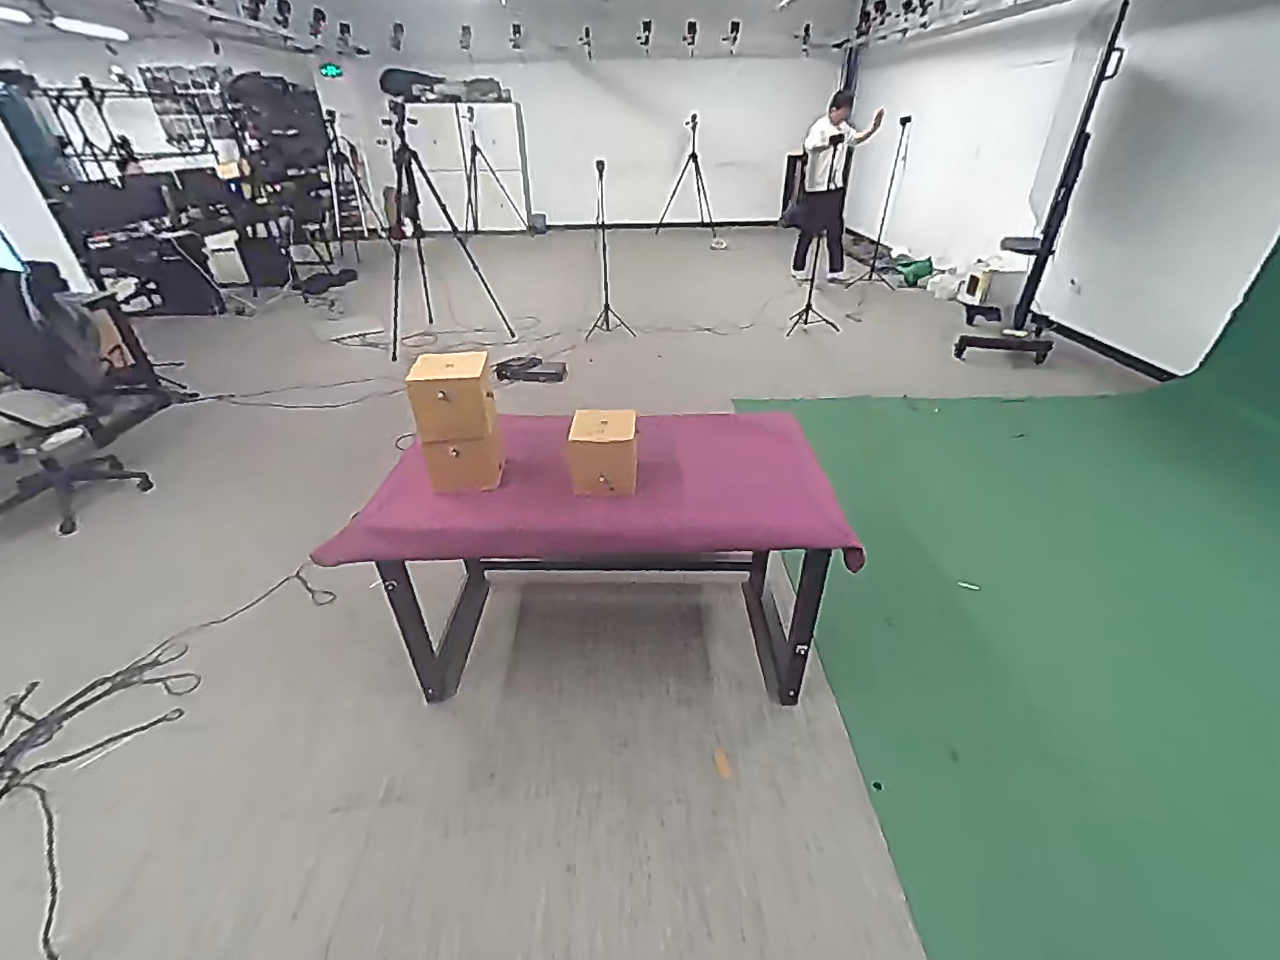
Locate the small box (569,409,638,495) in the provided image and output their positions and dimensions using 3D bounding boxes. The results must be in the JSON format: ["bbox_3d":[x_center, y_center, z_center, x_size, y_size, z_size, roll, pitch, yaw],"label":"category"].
[{"bbox_3d":[-0.091,-0.077,1.447,0.168,0.176,0.179,1,34,2],"label":"small box"}]

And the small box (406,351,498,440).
[{"bbox_3d":[-0.464,-0.214,1.369,0.179,0.176,0.168,-4,35,-5],"label":"small box"}]

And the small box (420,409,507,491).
[{"bbox_3d":[-0.469,-0.082,1.462,0.179,0.176,0.168,-2,34,-4],"label":"small box"}]
